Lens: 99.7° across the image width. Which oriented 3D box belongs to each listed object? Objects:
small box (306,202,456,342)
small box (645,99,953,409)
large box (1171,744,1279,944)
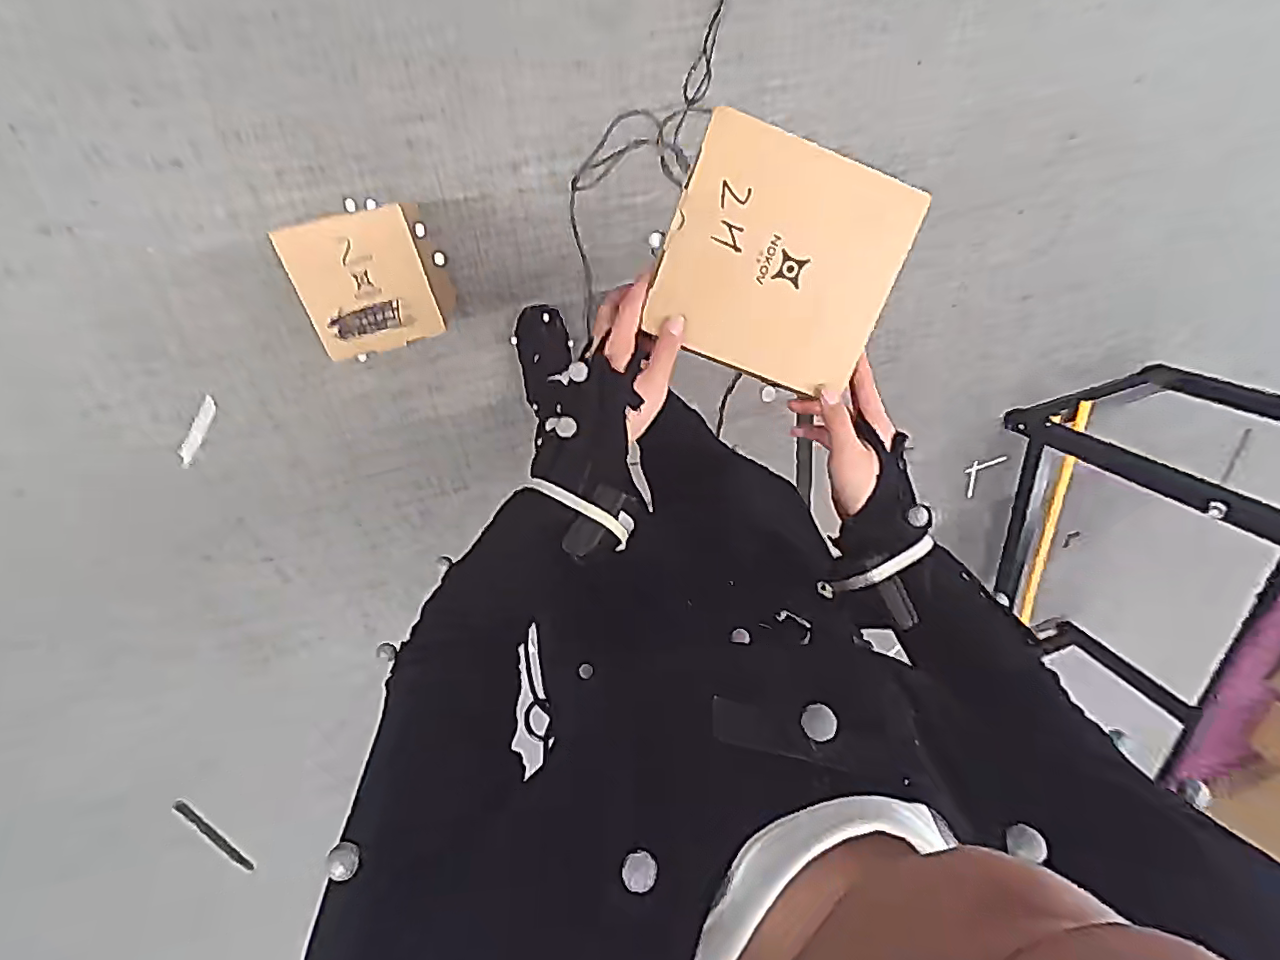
[{"bbox_3d":[-0.433,-0.364,0.935,0.168,0.176,0.179,-22,122,-6],"label":"small box"},{"bbox_3d":[0.114,-0.178,0.470,0.179,0.176,0.168,21,103,-5],"label":"small box"},{"bbox_3d":[1.718,0.929,1.386,0.408,0.320,0.320,-17,122,-10],"label":"large box"}]
